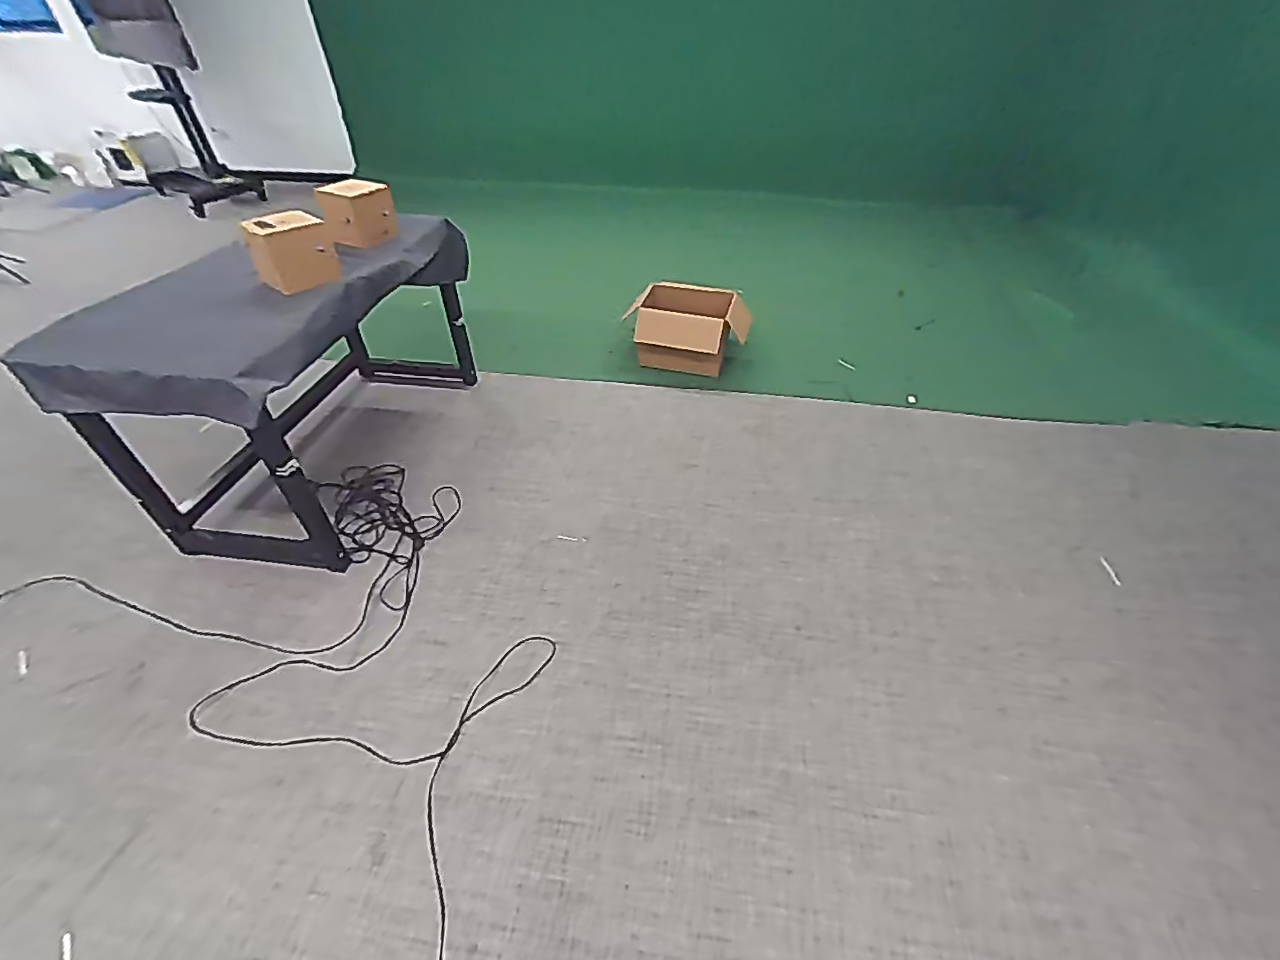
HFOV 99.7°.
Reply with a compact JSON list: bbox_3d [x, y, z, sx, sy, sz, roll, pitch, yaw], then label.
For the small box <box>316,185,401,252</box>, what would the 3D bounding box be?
[{"bbox_3d":[-0.969,-0.907,1.878,0.179,0.176,0.168,18,43,20],"label":"small box"}]
